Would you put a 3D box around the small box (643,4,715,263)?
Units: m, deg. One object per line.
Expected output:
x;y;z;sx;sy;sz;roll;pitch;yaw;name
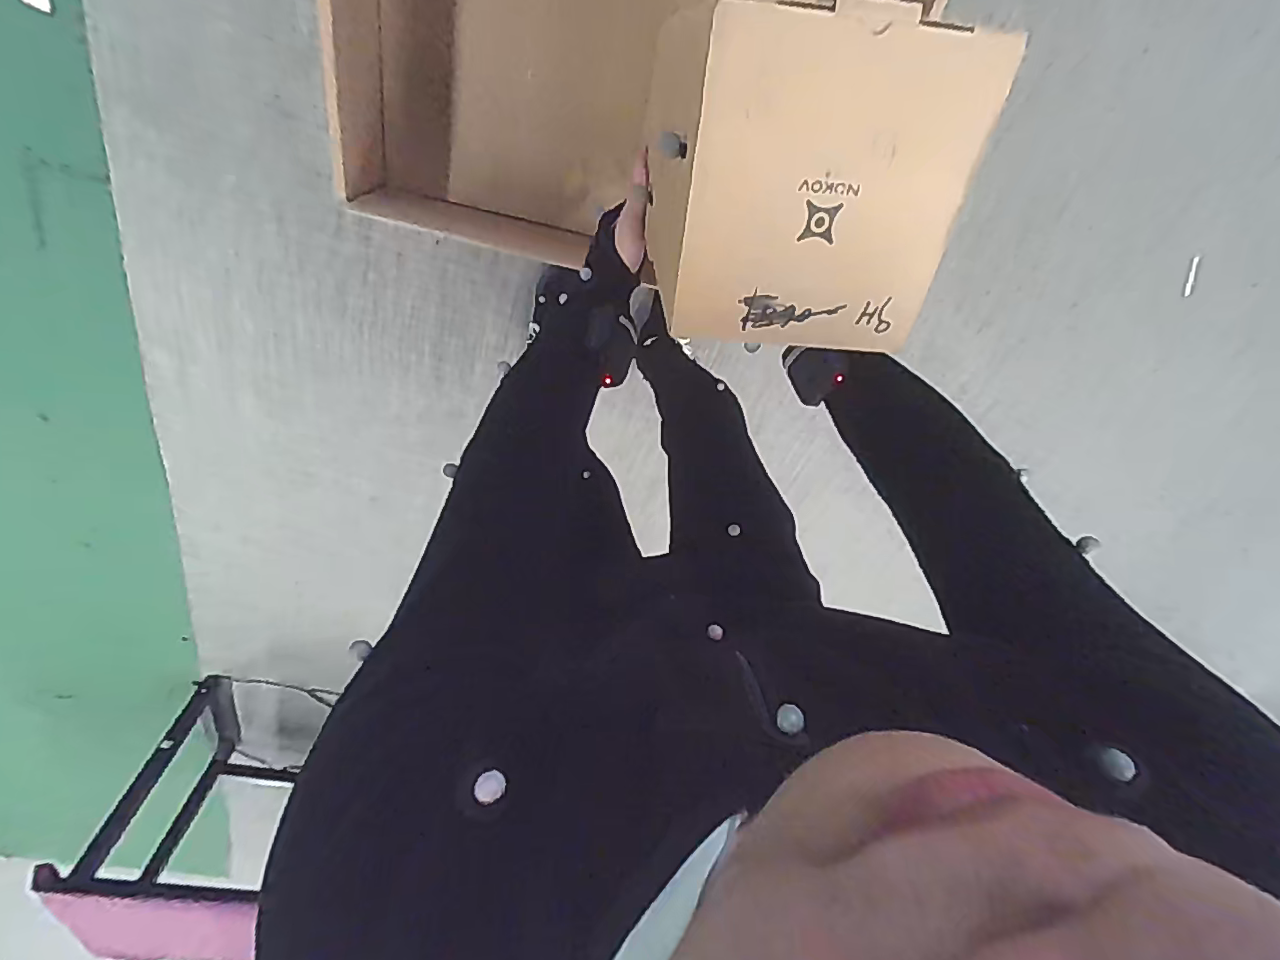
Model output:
0.096;-0.304;0.500;0.168;0.176;0.179;4;126;-7;small box

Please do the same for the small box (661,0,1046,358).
0.108;-0.203;0.370;0.168;0.176;0.179;4;126;-5;small box
